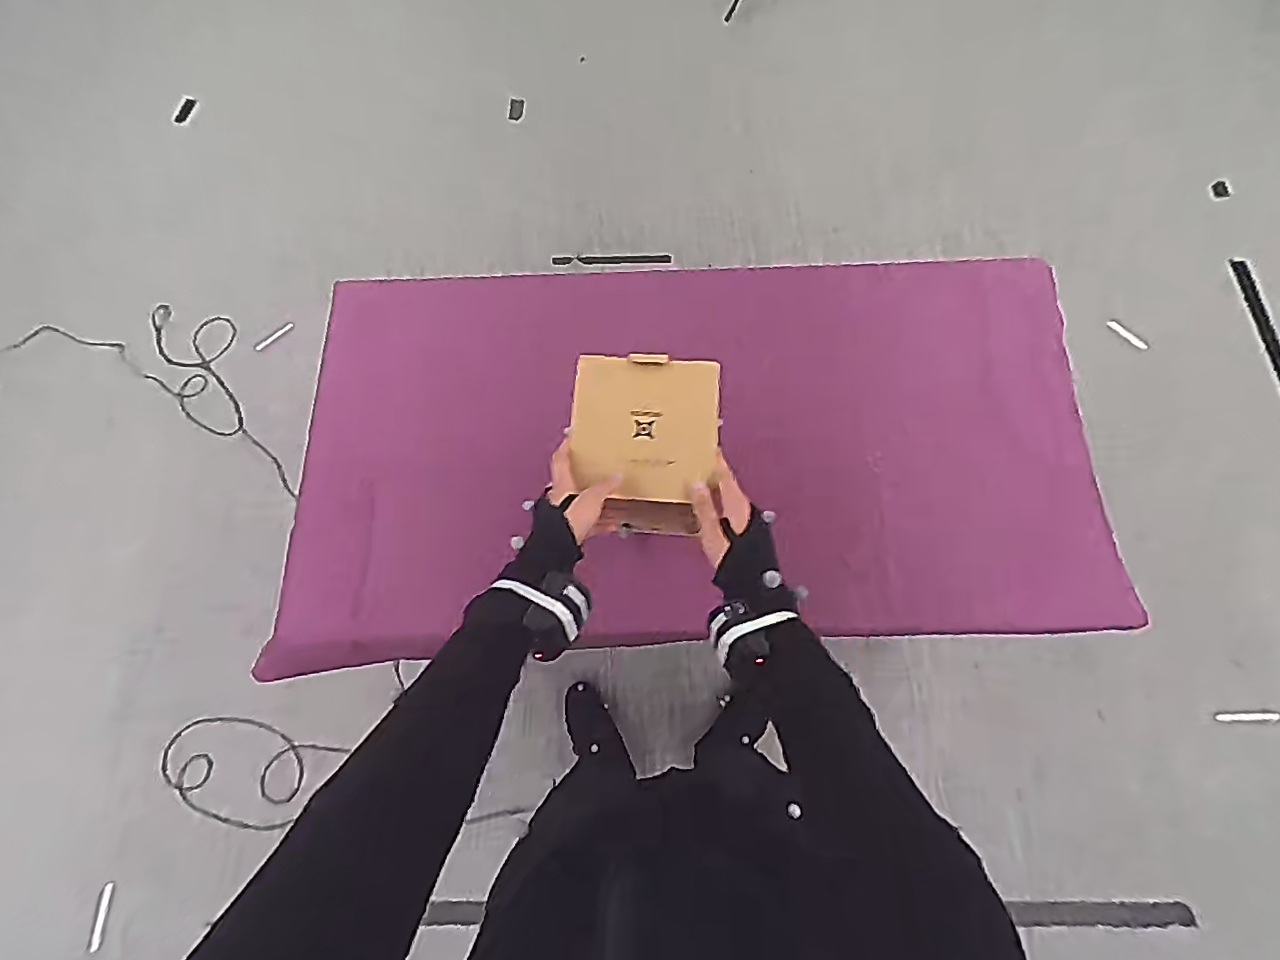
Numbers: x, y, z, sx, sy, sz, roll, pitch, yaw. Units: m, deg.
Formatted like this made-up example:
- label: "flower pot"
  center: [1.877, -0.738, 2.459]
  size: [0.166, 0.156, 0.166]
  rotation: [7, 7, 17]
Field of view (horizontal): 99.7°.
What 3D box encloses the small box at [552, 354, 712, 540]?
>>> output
- label: "small box"
  center: [-0.007, -0.033, 0.675]
  size: [0.168, 0.176, 0.179]
  rotation: [5, 72, 1]
